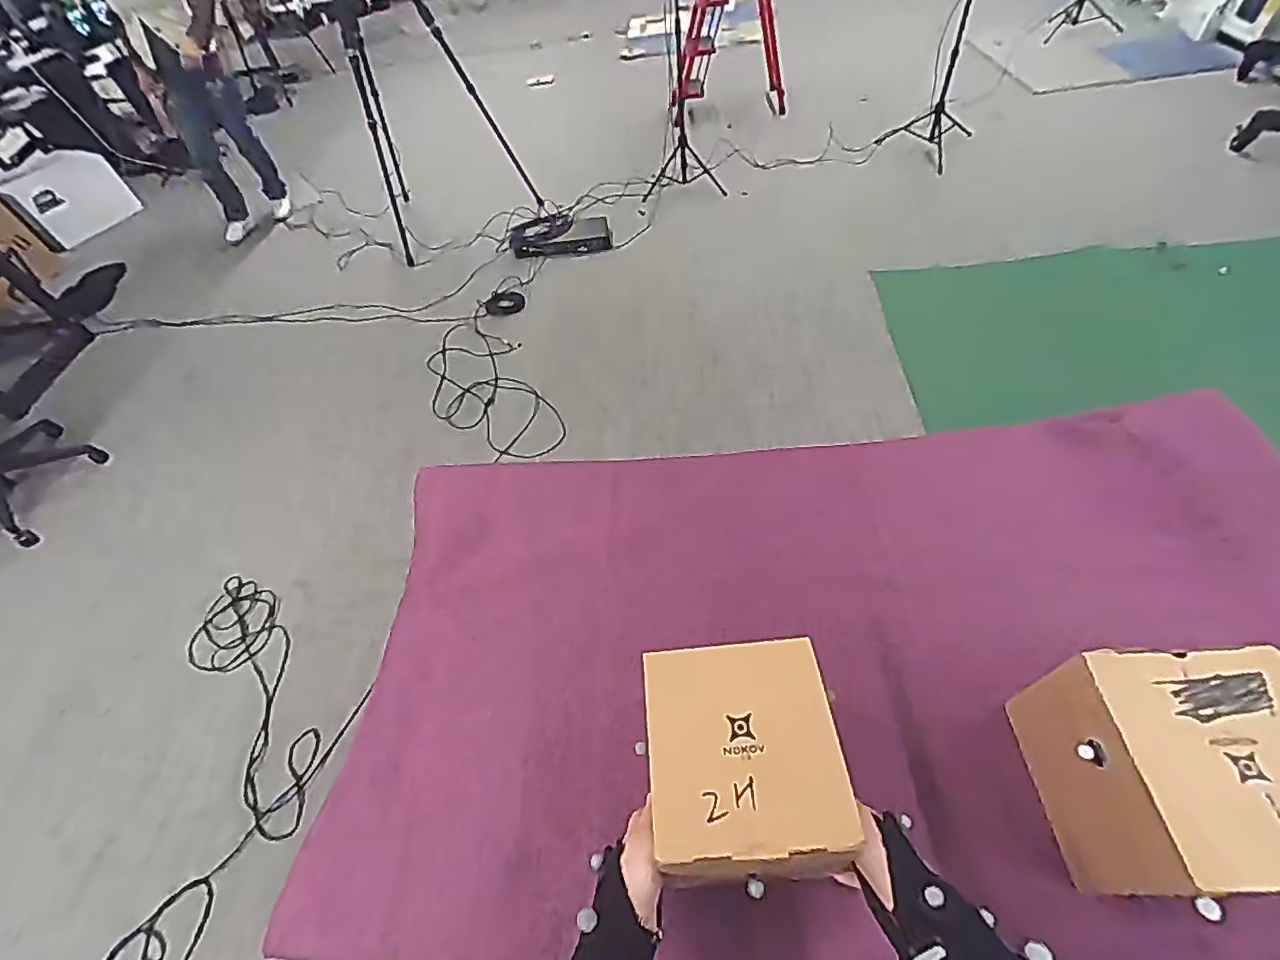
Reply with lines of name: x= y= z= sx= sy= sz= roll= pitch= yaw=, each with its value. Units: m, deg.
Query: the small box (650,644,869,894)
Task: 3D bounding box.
small box: x=0.100 y=0.284 z=0.530 sx=0.168 sy=0.176 sz=0.179 roll=-7 pitch=48 yaw=3

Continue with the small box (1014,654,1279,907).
small box: x=0.487 y=0.275 z=0.492 sx=0.168 sy=0.176 sz=0.179 roll=-4 pitch=52 yaw=5
